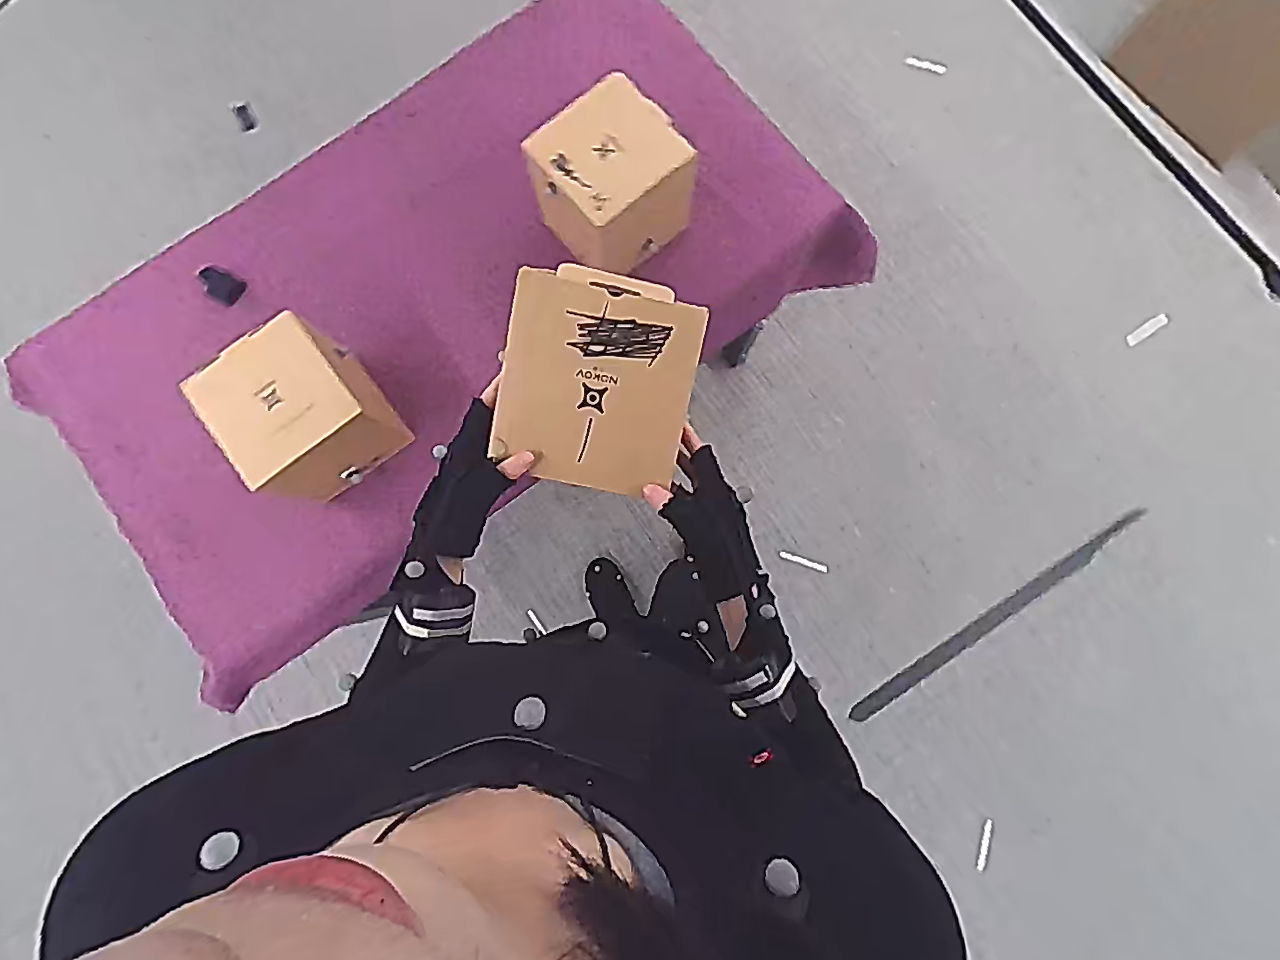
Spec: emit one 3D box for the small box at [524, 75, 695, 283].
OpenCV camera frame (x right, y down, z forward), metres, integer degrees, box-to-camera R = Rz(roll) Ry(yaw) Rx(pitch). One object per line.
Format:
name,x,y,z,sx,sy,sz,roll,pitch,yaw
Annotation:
small box,-0.043,-0.431,0.804,0.179,0.176,0.168,-40,83,-6

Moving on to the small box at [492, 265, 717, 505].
small box,-0.036,-0.088,0.543,0.168,0.176,0.179,12,96,-5

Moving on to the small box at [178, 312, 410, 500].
small box,-0.461,-0.089,0.750,0.168,0.176,0.179,-39,84,-5
